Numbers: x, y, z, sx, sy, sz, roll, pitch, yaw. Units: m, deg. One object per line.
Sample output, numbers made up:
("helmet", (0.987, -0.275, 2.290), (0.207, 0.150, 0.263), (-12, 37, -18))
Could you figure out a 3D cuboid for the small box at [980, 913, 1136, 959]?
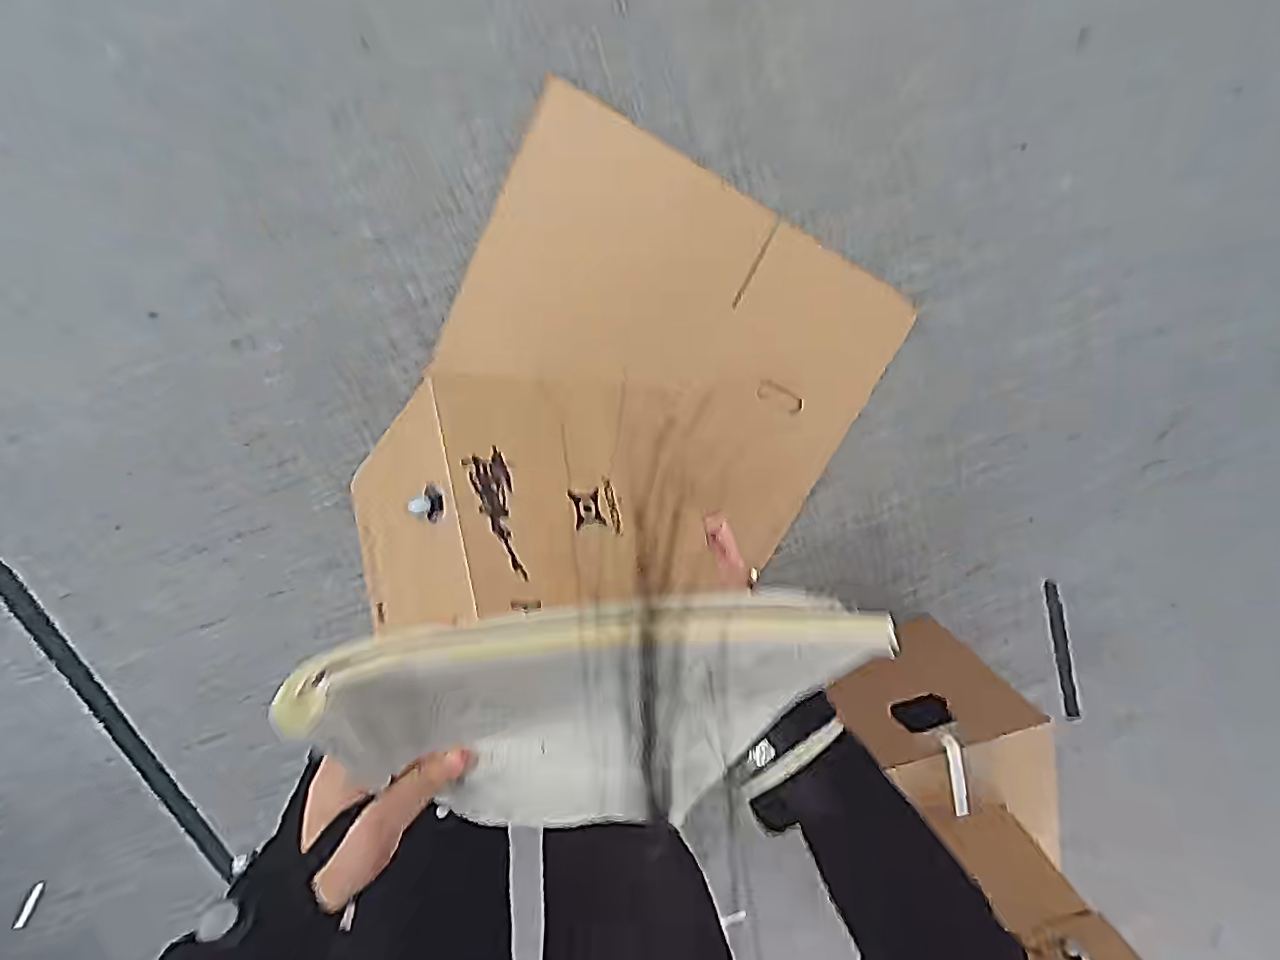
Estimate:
("small box", (0.535, 0.666, 0.631), (0.168, 0.176, 0.179), (-17, 105, 0))
